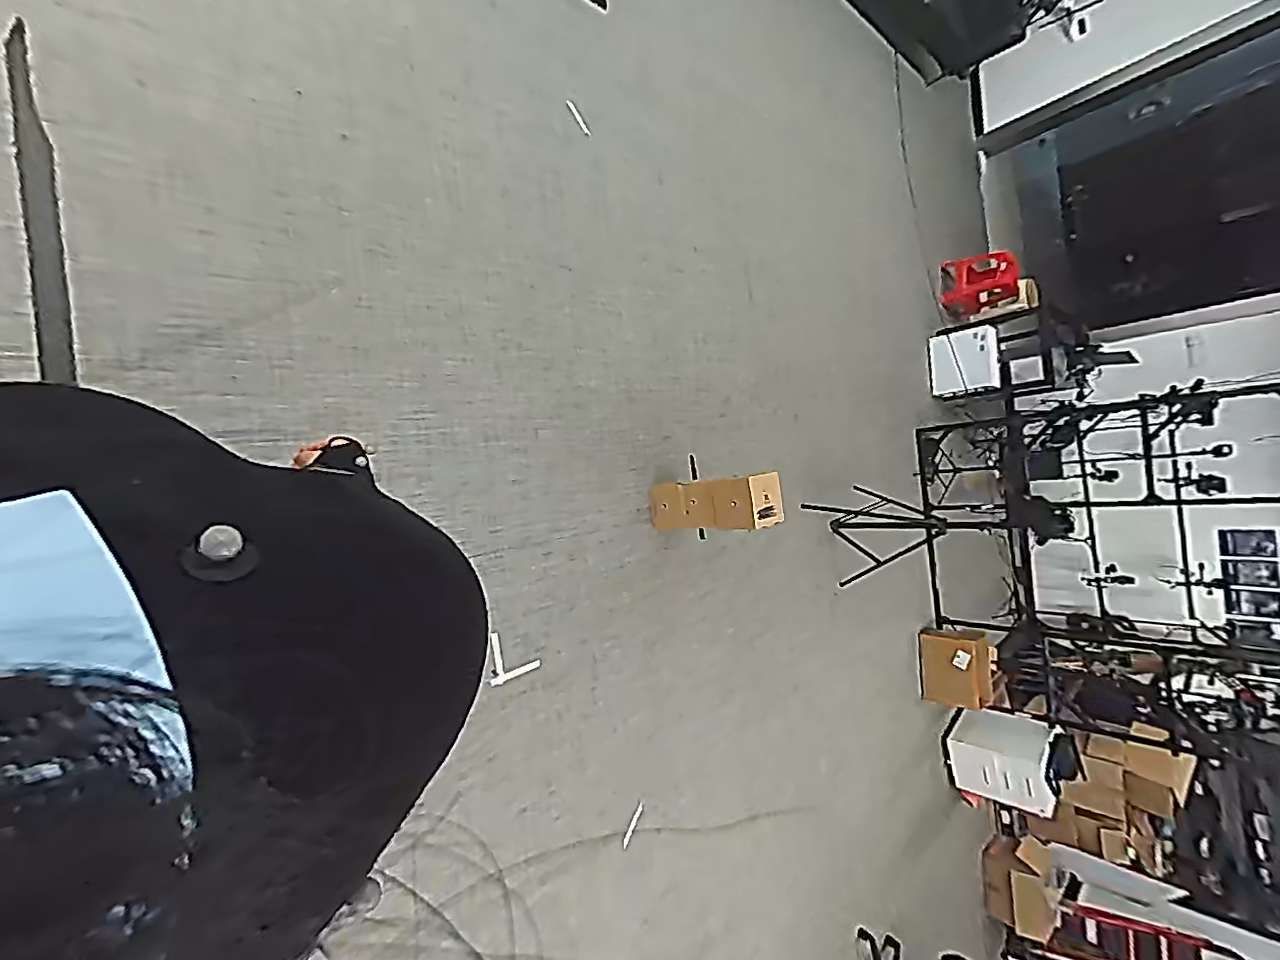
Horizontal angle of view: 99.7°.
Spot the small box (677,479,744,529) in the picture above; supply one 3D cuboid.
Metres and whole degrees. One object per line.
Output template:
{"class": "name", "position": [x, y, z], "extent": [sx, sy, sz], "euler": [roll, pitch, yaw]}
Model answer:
{"class": "small box", "position": [0.261, 0.086, 1.996], "extent": [0.179, 0.176, 0.168], "euler": [-7, 91, -42]}

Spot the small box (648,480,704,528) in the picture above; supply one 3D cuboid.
{"class": "small box", "position": [0.144, 0.094, 2.109], "extent": [0.179, 0.176, 0.168], "euler": [-10, 94, -43]}
